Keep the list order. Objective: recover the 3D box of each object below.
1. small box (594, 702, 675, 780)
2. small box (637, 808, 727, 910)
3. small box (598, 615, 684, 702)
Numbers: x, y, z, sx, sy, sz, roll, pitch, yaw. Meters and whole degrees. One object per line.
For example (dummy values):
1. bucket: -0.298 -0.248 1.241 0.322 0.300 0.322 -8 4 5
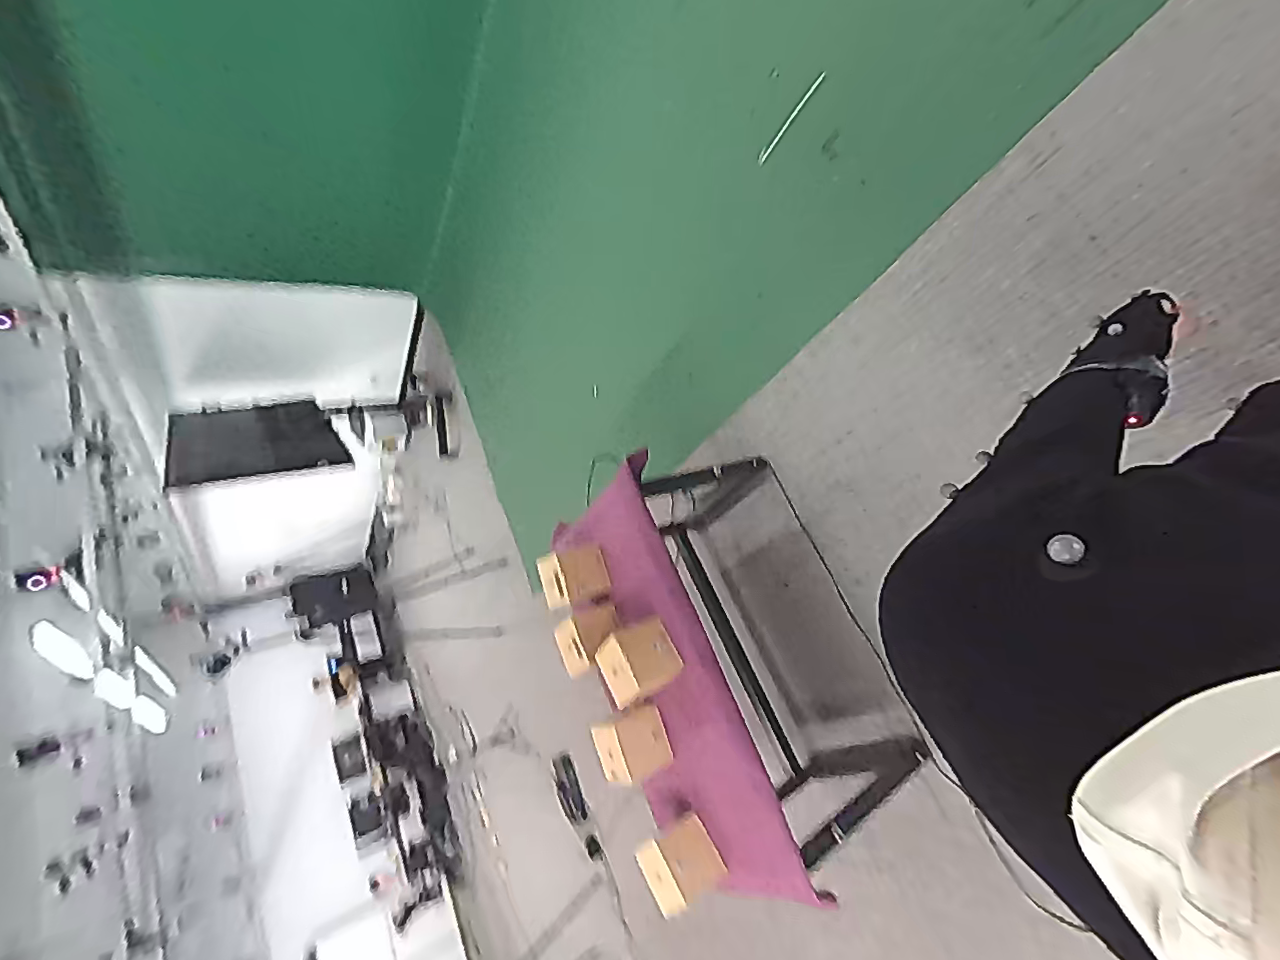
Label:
1. small box: -0.018 0.821 1.721 0.168 0.176 0.179 -34 71 52
2. small box: 0.126 1.119 1.603 0.179 0.176 0.168 55 137 30
3. small box: 0.003 0.529 1.612 0.168 0.176 0.179 59 141 24
